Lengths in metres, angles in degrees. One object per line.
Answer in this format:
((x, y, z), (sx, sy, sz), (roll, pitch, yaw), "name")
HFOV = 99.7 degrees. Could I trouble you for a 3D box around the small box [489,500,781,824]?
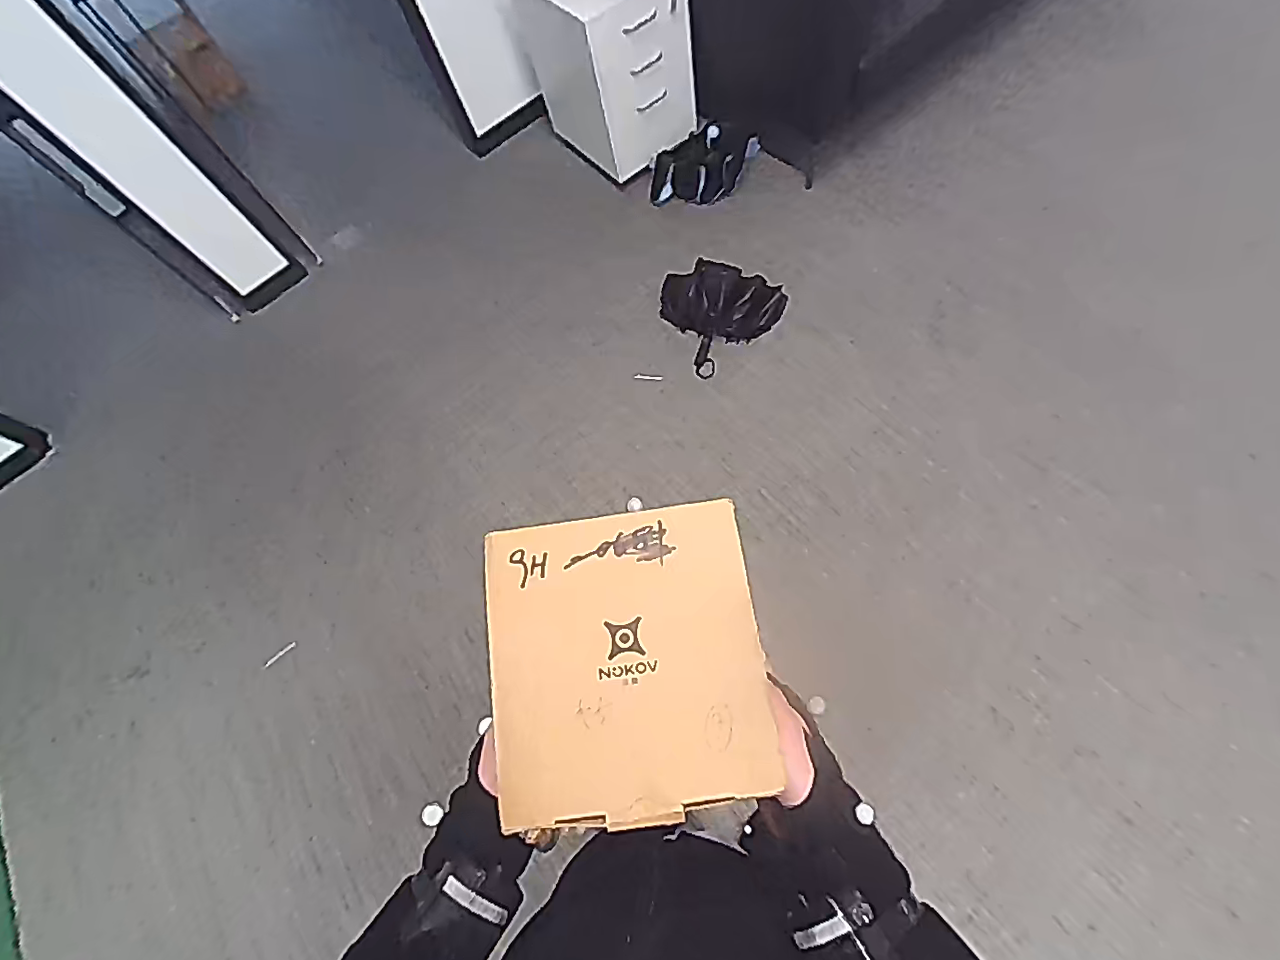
((-0.004, 0.125, 0.407), (0.168, 0.176, 0.179), (-8, 74, 0), "small box")
